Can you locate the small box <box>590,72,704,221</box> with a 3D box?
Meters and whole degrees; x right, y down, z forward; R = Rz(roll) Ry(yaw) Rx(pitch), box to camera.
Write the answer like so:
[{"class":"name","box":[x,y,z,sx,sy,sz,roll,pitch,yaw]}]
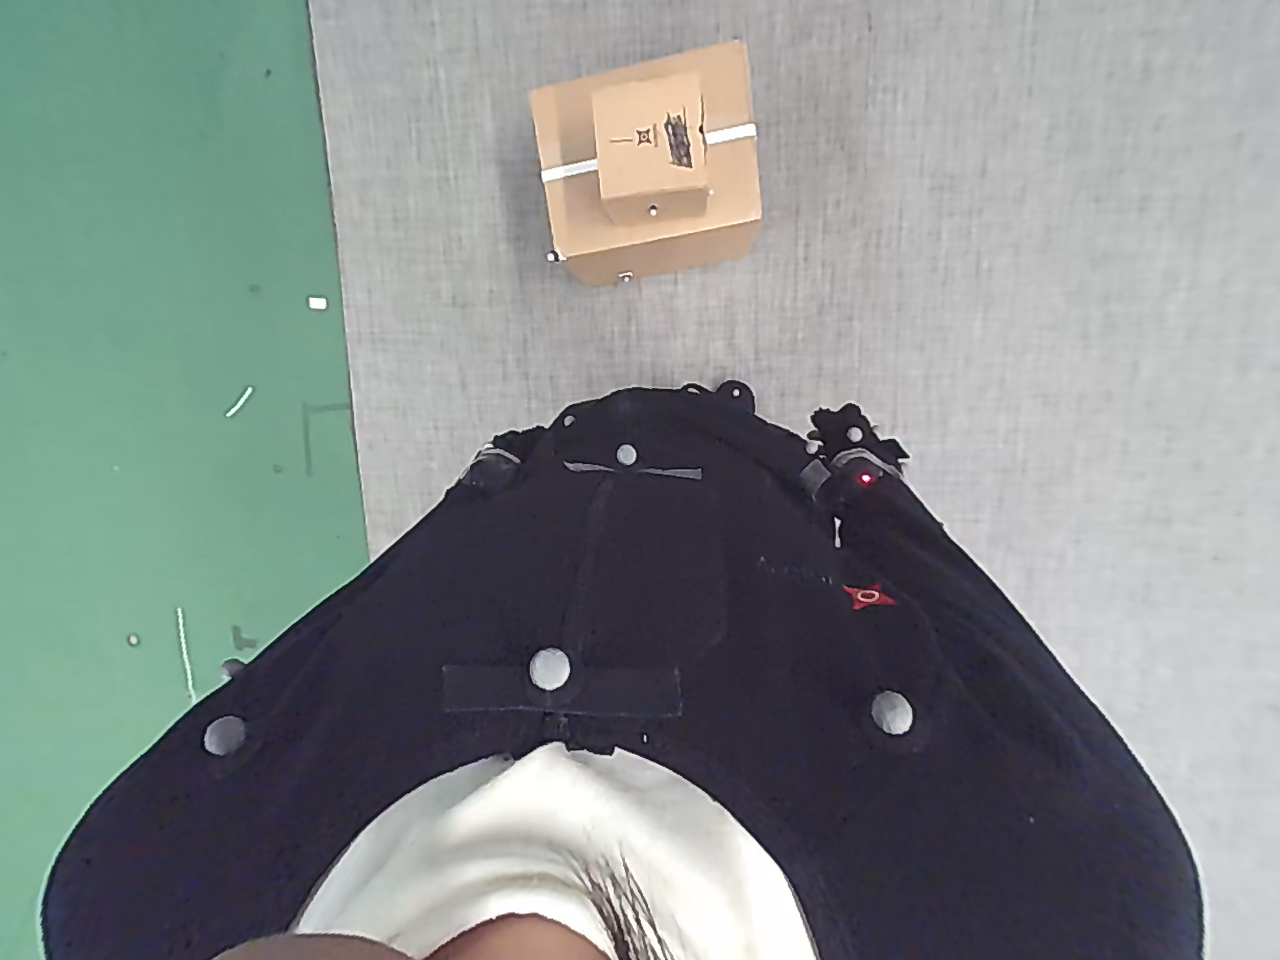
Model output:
[{"class":"small box","box":[0.020,-0.567,0.943,0.179,0.176,0.168,-3,100,8]}]
